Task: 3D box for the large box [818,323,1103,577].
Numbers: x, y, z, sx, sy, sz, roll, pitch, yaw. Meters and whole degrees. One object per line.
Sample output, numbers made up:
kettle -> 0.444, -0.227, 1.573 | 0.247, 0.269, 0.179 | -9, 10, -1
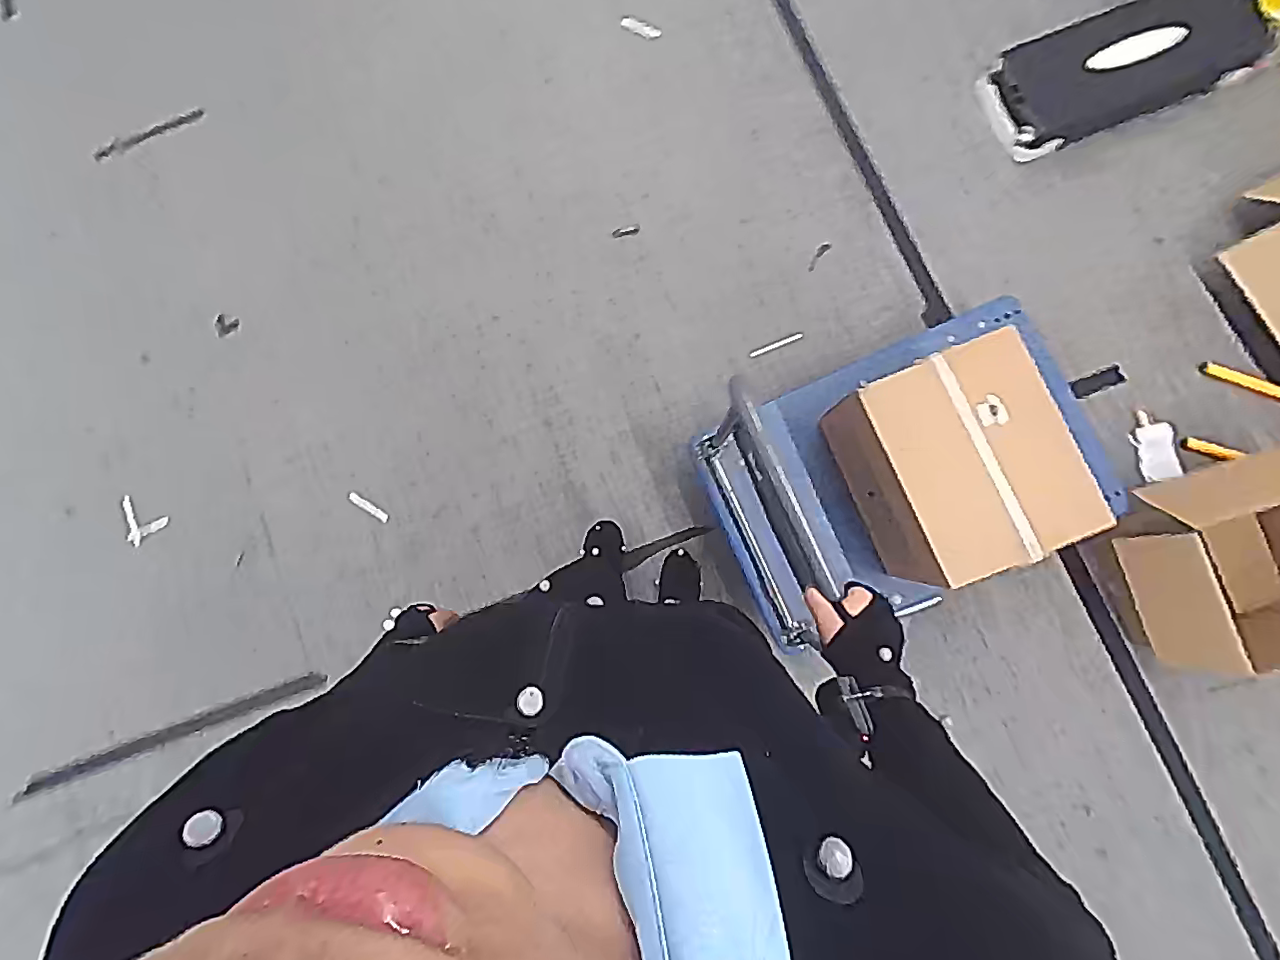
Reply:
large box -> 0.635, -0.044, 1.152 | 0.320, 0.320, 0.408 | -23, 82, 2
